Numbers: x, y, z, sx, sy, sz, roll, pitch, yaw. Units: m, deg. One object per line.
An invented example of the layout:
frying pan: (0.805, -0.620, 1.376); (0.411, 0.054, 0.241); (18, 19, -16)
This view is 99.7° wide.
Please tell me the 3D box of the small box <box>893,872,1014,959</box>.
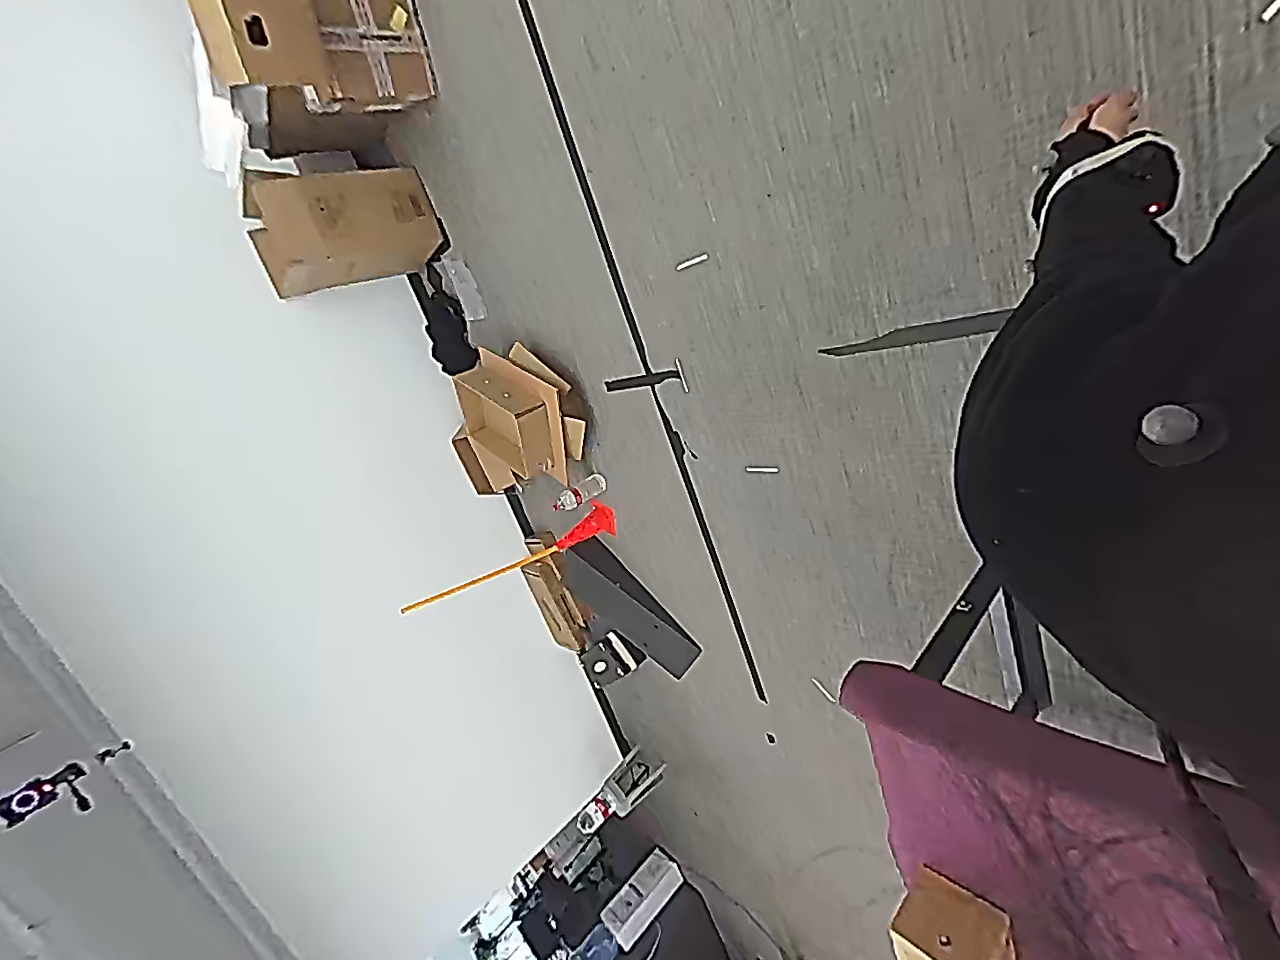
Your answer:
small box: (0.671, 0.994, 1.146); (0.179, 0.176, 0.168); (5, 119, 52)
